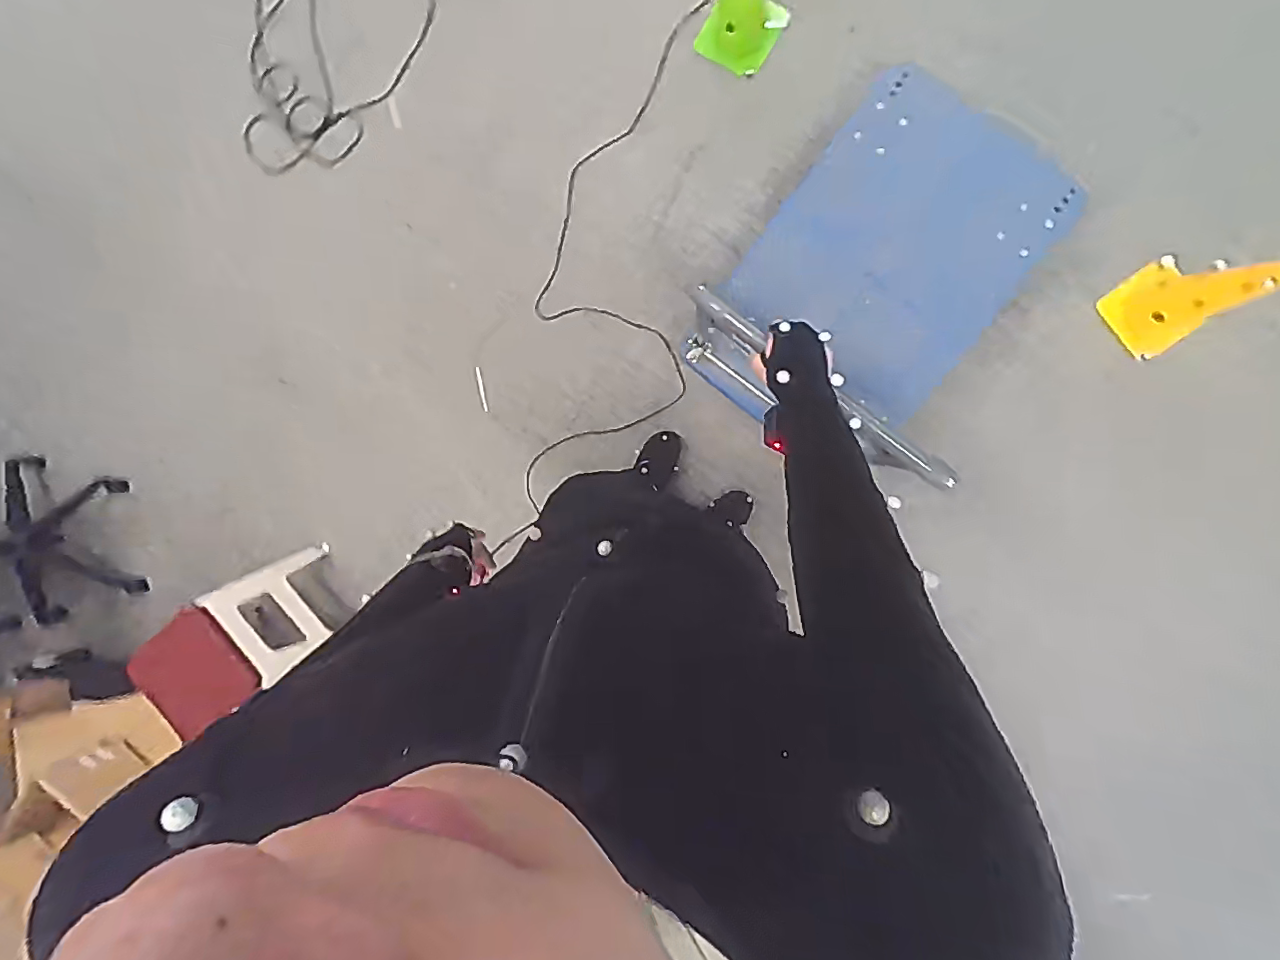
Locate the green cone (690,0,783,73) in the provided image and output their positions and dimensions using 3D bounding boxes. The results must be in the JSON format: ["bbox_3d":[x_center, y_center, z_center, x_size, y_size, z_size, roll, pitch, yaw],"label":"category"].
[{"bbox_3d":[0.234,-1.240,1.319,0.202,0.368,0.200,32,98,6],"label":"green cone"}]
